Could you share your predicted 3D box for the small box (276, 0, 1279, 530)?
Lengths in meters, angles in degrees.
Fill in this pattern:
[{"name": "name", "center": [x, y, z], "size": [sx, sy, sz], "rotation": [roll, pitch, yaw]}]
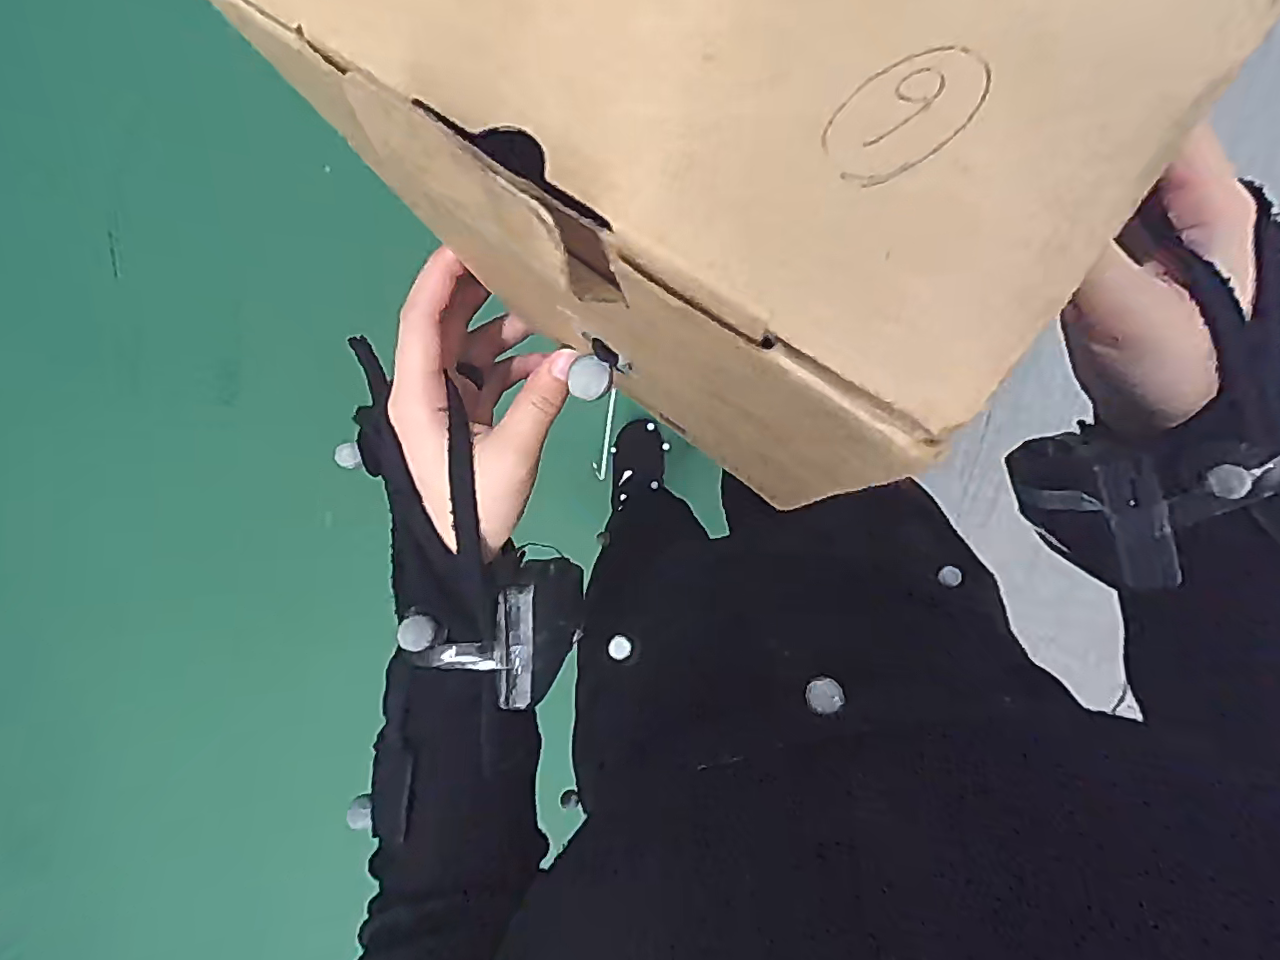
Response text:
[{"name": "small box", "center": [0.045, -0.098, 0.182], "size": [0.168, 0.176, 0.179], "rotation": [38, 90, 9]}]
